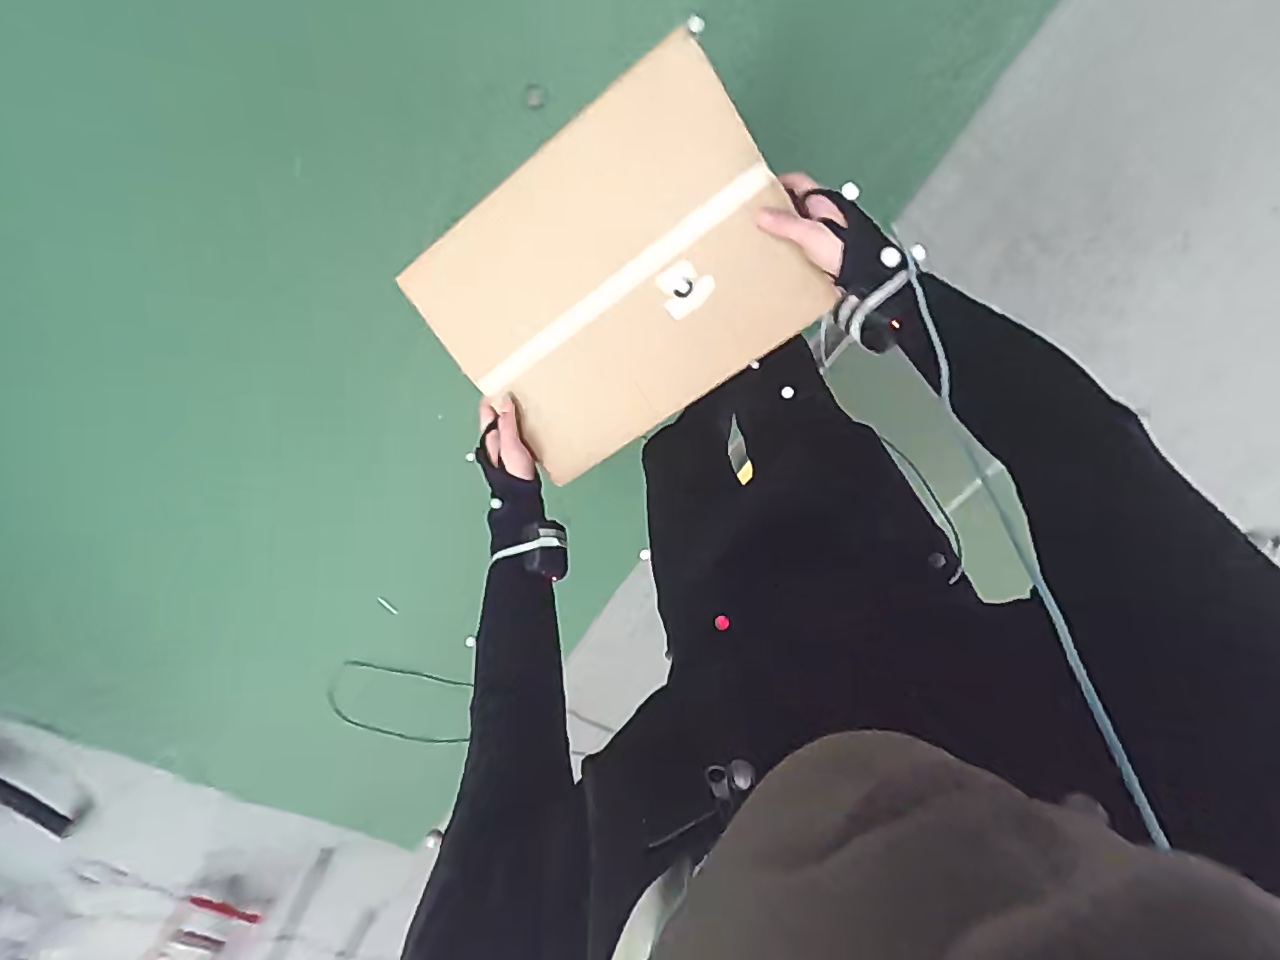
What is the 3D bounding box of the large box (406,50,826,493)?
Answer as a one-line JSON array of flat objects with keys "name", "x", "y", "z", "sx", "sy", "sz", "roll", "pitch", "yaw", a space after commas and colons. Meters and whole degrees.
[{"name": "large box", "x": -0.023, "y": -0.251, "z": 0.761, "sx": 0.408, "sy": 0.320, "sz": 0.320, "roll": -34, "pitch": 103, "yaw": 15}]
